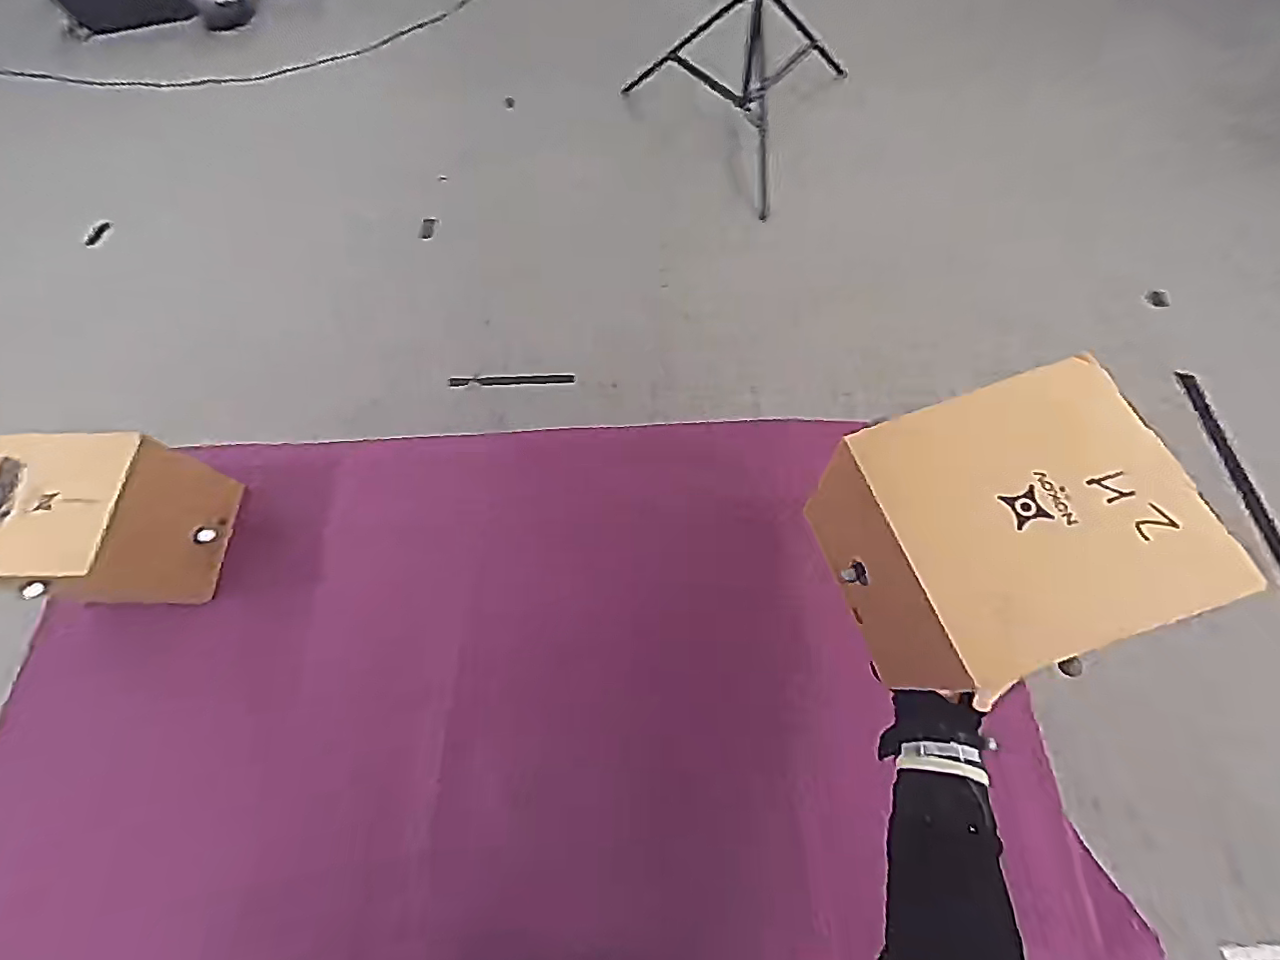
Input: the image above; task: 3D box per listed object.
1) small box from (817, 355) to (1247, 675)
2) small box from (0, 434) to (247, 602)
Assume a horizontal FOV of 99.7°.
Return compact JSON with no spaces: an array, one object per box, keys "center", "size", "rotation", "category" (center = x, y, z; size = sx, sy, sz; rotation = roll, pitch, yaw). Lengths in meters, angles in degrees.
[{"center":[0.251,0.041,0.410],"size":[0.179,0.176,0.168],"rotation":[-19,69,-1],"category":"small box"},{"center":[-0.640,0.054,0.661],"size":[0.179,0.176,0.168],"rotation":[0,68,2],"category":"small box"}]
